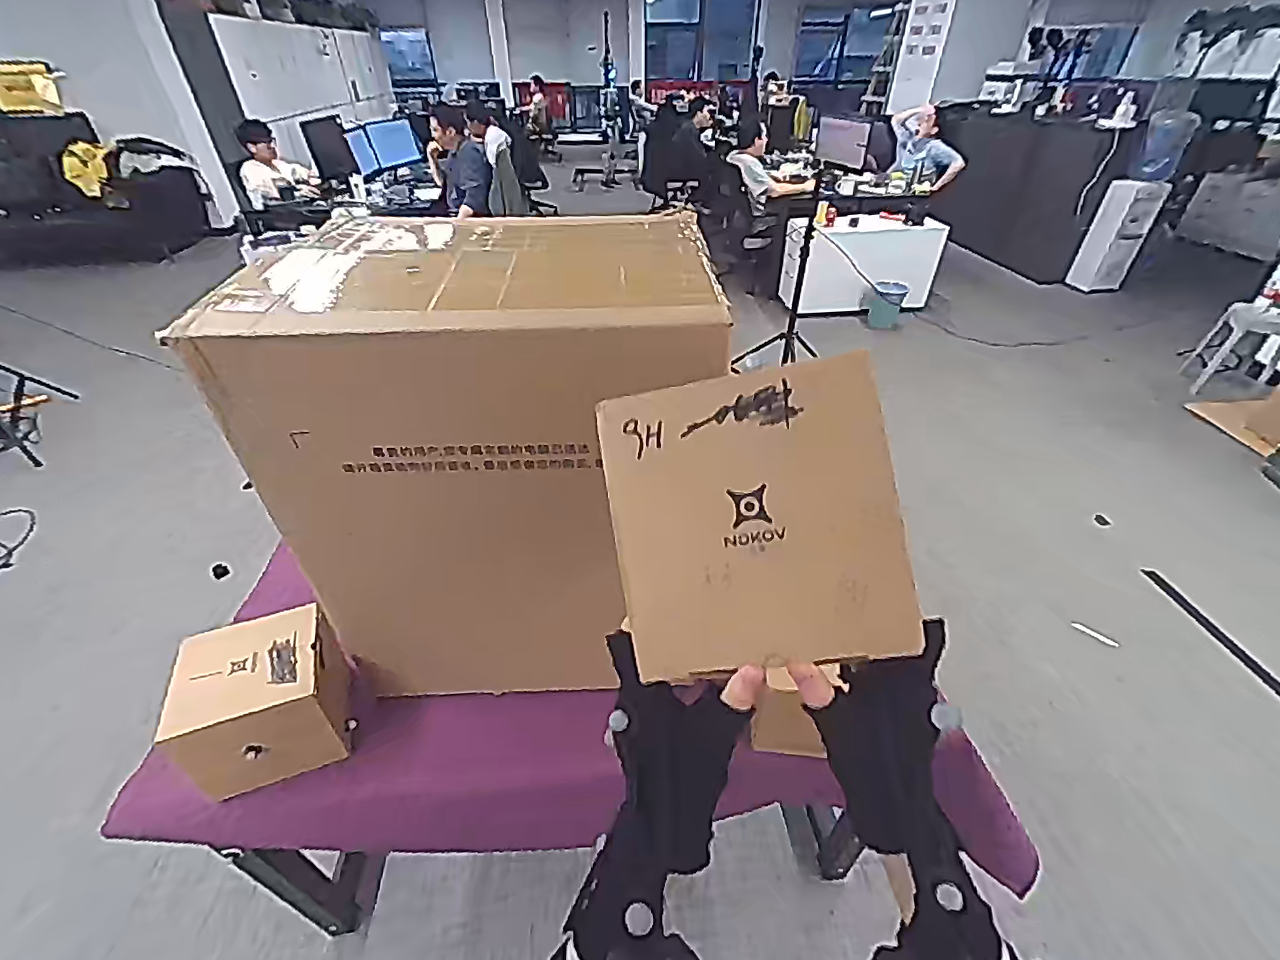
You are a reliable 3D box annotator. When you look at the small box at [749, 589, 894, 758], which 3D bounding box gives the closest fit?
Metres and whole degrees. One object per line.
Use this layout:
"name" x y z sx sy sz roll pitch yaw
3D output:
"small box" 0.260 0.291 0.817 0.168 0.176 0.179 4 36 5
